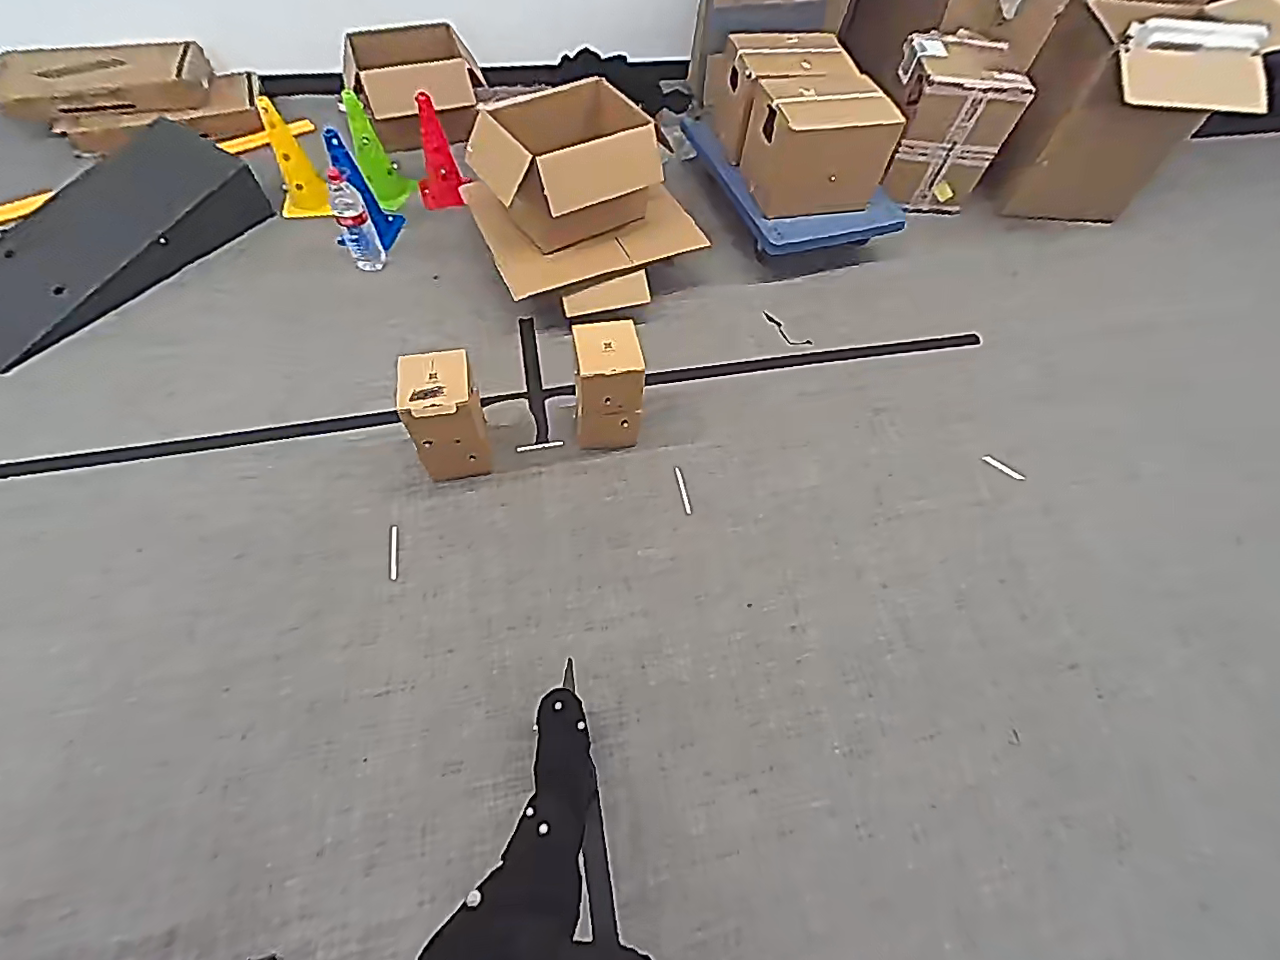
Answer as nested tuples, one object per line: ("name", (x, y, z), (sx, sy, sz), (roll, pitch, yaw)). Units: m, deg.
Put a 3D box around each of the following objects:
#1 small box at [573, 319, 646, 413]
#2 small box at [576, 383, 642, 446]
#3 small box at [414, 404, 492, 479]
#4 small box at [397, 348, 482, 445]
("small box", (-0.088, -0.304, 1.451), (0.168, 0.176, 0.179), (-8, 62, -10))
("small box", (-0.097, -0.213, 1.586), (0.179, 0.176, 0.168), (-5, 61, -8))
("small box", (-0.517, -0.121, 1.504), (0.179, 0.176, 0.168), (-12, 61, -9))
("small box", (-0.500, -0.203, 1.362), (0.168, 0.176, 0.179), (-8, 60, -9))
